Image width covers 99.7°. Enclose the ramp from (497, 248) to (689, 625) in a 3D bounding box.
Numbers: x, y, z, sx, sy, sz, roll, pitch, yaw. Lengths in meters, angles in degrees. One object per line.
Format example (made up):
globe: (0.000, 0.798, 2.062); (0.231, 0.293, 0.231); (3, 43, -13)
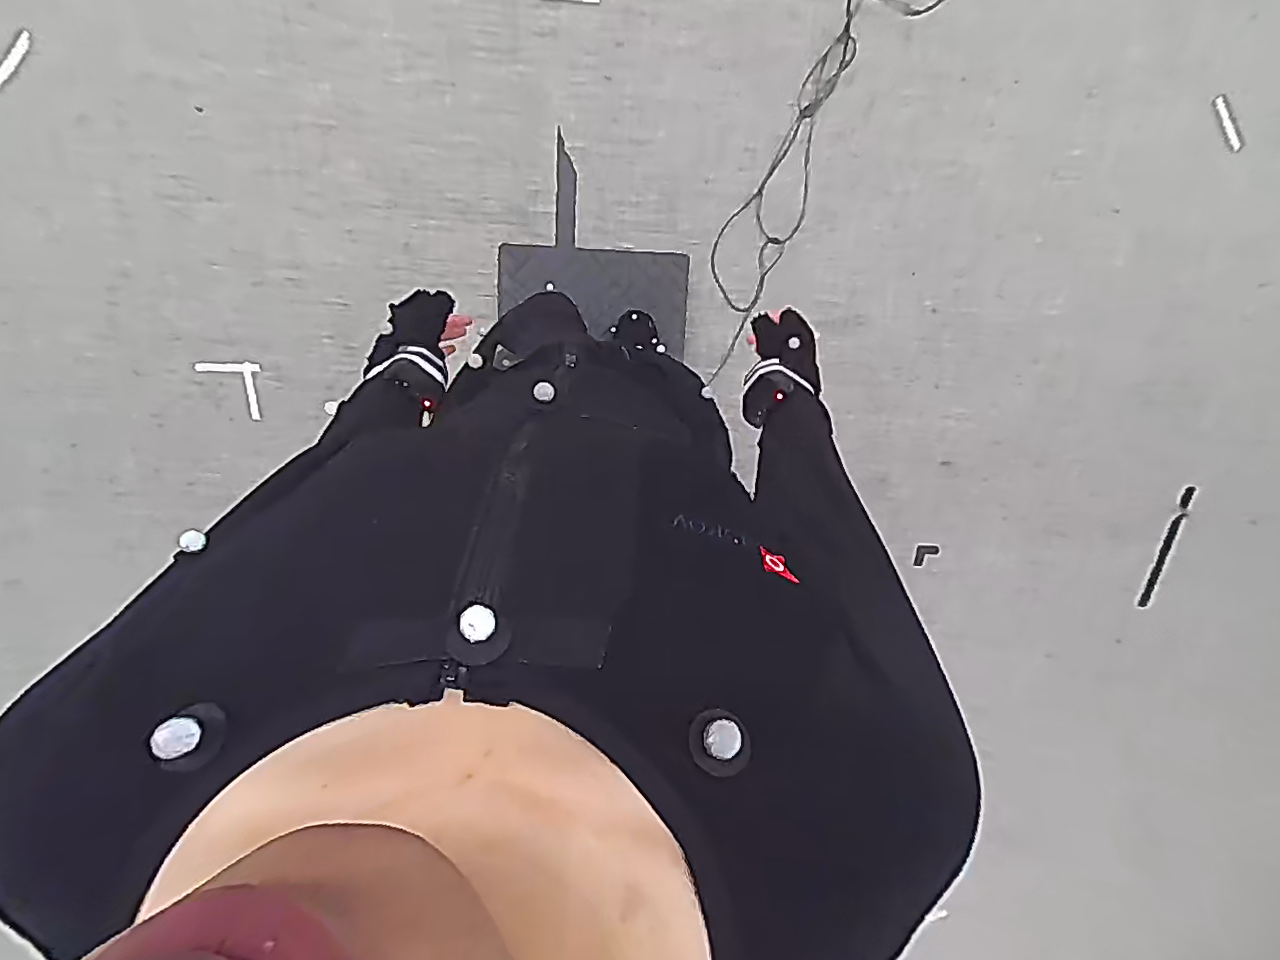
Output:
ramp: (-0.137, -0.096, 1.456); (0.509, 0.206, 0.991); (1, 107, 1)
